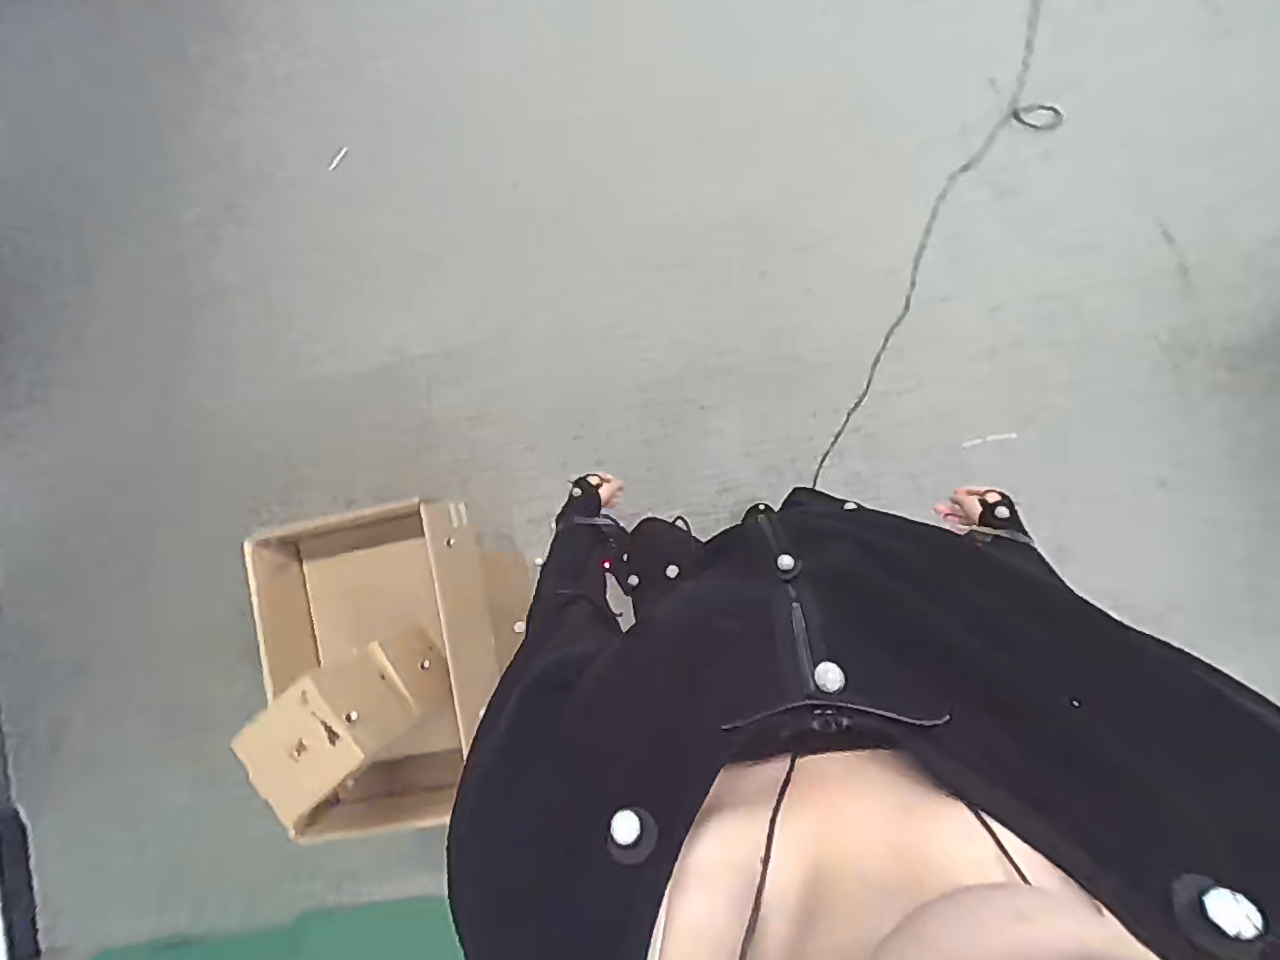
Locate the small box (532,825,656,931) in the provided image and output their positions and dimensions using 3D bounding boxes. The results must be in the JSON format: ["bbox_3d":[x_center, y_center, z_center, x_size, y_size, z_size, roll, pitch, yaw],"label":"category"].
[{"bbox_3d":[-0.084,0.866,1.106,0.179,0.176,0.168,-44,83,3],"label":"small box"}]

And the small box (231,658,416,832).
[{"bbox_3d":[-0.526,0.438,0.923,0.179,0.176,0.168,-42,82,4],"label":"small box"}]

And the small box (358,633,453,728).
[{"bbox_3d":[-0.504,0.432,1.086,0.179,0.176,0.168,-36,82,5],"label":"small box"}]
